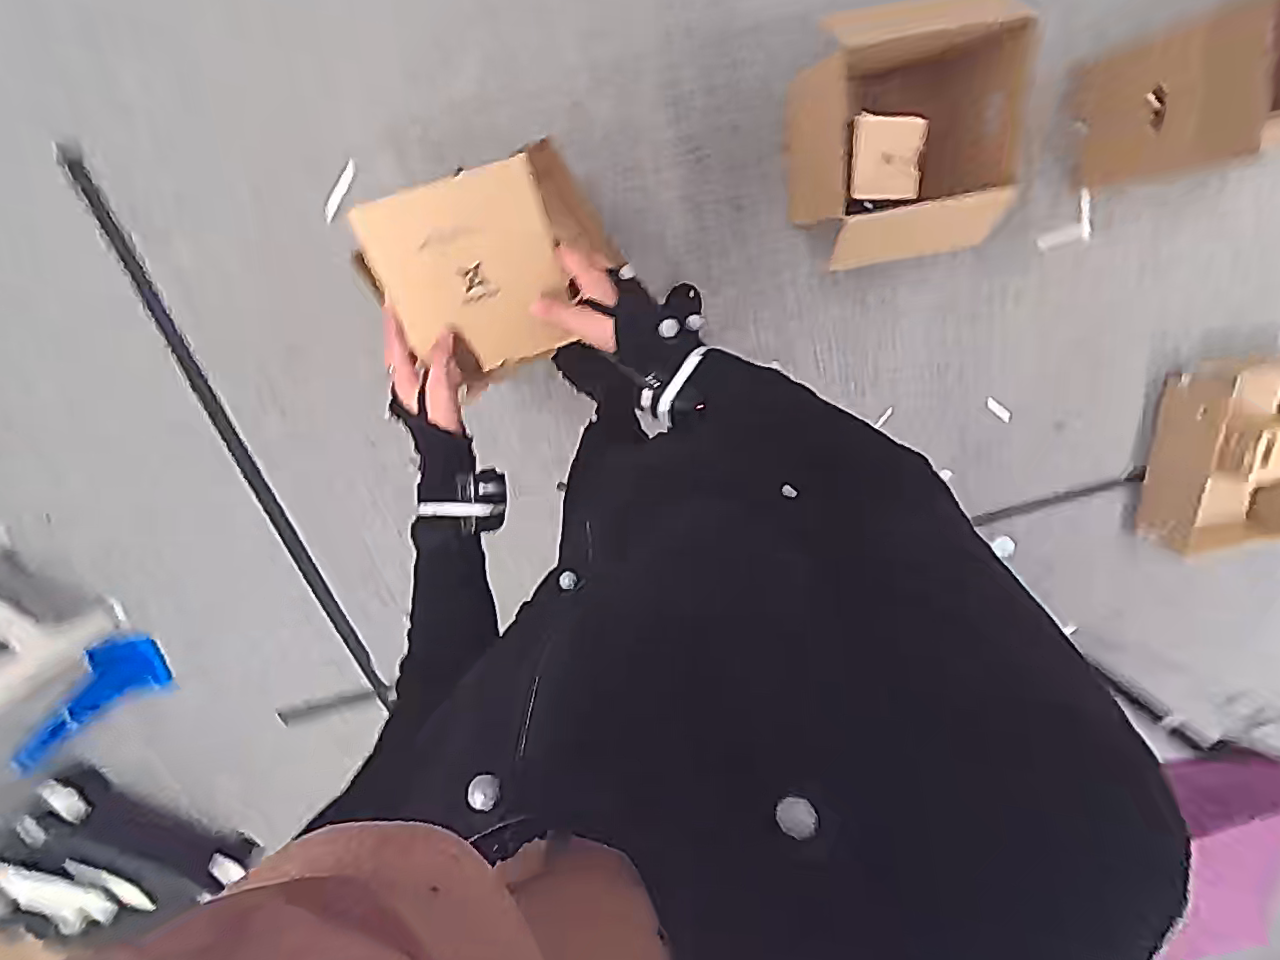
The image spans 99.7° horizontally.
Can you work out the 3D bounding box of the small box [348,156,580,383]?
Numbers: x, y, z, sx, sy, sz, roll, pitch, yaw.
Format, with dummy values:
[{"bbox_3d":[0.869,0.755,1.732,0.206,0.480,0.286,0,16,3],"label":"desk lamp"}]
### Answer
[{"bbox_3d":[-0.175,-0.233,0.584,0.168,0.176,0.179,-19,123,-5],"label":"small box"}]
